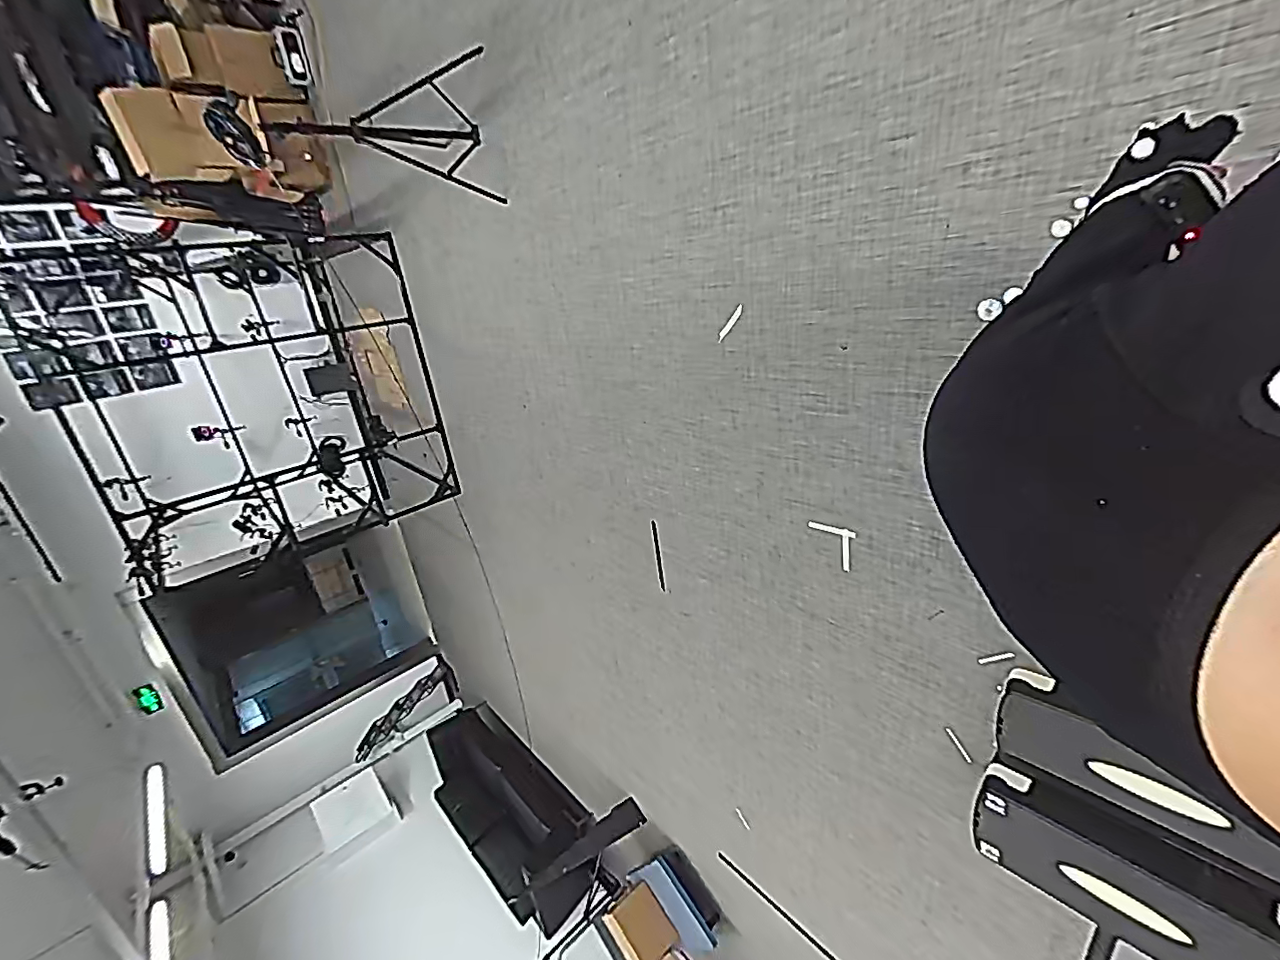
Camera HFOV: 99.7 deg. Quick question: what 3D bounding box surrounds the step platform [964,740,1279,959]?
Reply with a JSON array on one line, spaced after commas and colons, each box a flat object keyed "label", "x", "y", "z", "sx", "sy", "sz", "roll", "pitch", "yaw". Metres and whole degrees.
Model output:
[{"label": "step platform", "x": 1.244, "y": 1.000, "z": 1.412, "sx": 0.684, "sy": 0.204, "sz": 0.286, "roll": 16, "pitch": 122, "yaw": 48}]
